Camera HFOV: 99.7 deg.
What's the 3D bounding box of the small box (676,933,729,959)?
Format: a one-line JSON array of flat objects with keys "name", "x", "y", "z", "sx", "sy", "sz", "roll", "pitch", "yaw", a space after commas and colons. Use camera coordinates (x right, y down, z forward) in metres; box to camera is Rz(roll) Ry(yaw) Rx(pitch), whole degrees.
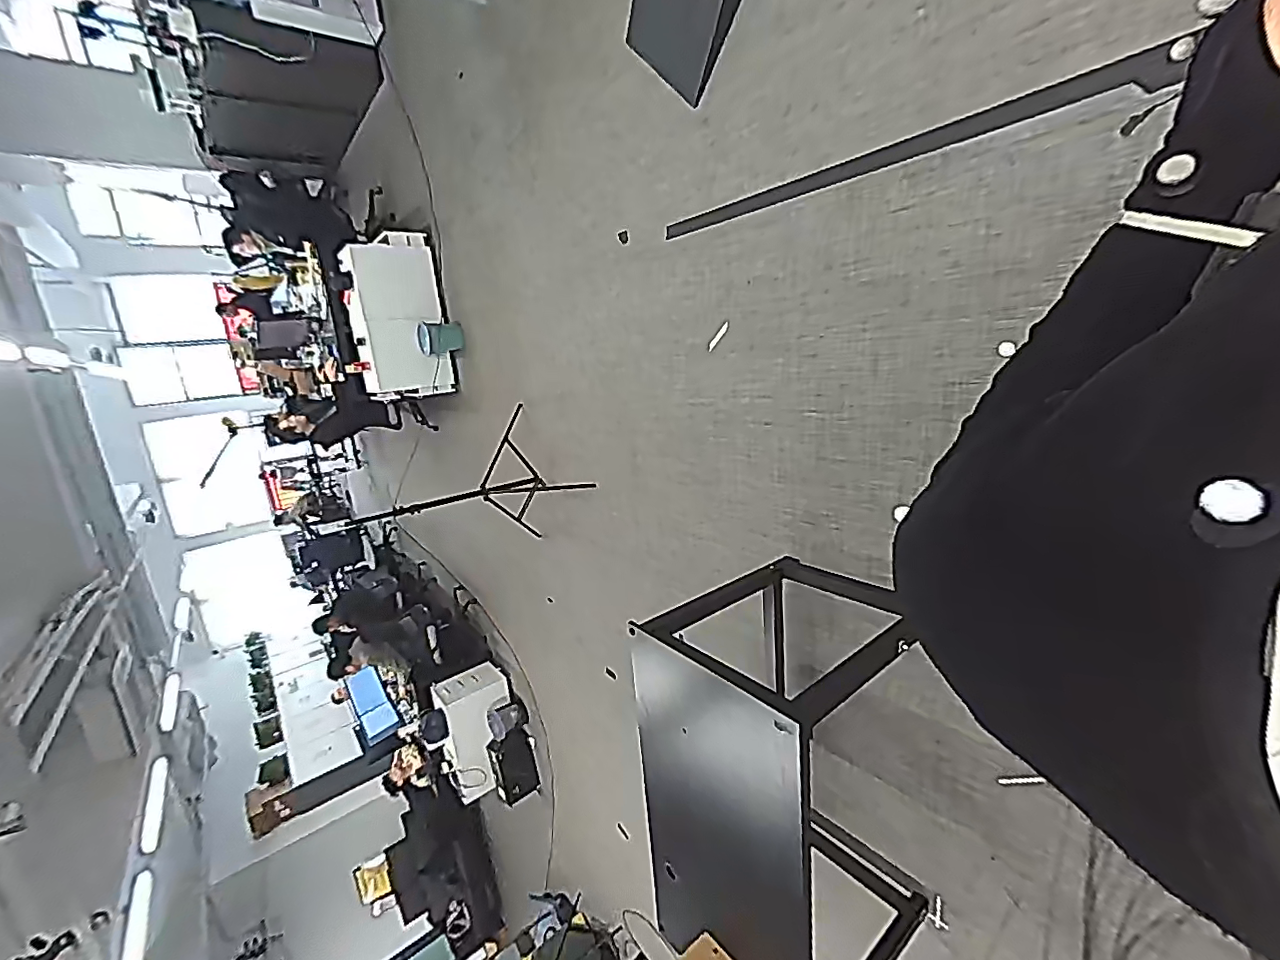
[{"name": "small box", "x": 0.185, "y": 1.461, "z": 1.537, "sx": 0.168, "sy": 0.176, "sz": 0.179, "roll": 10, "pitch": 110, "yaw": 52}]
